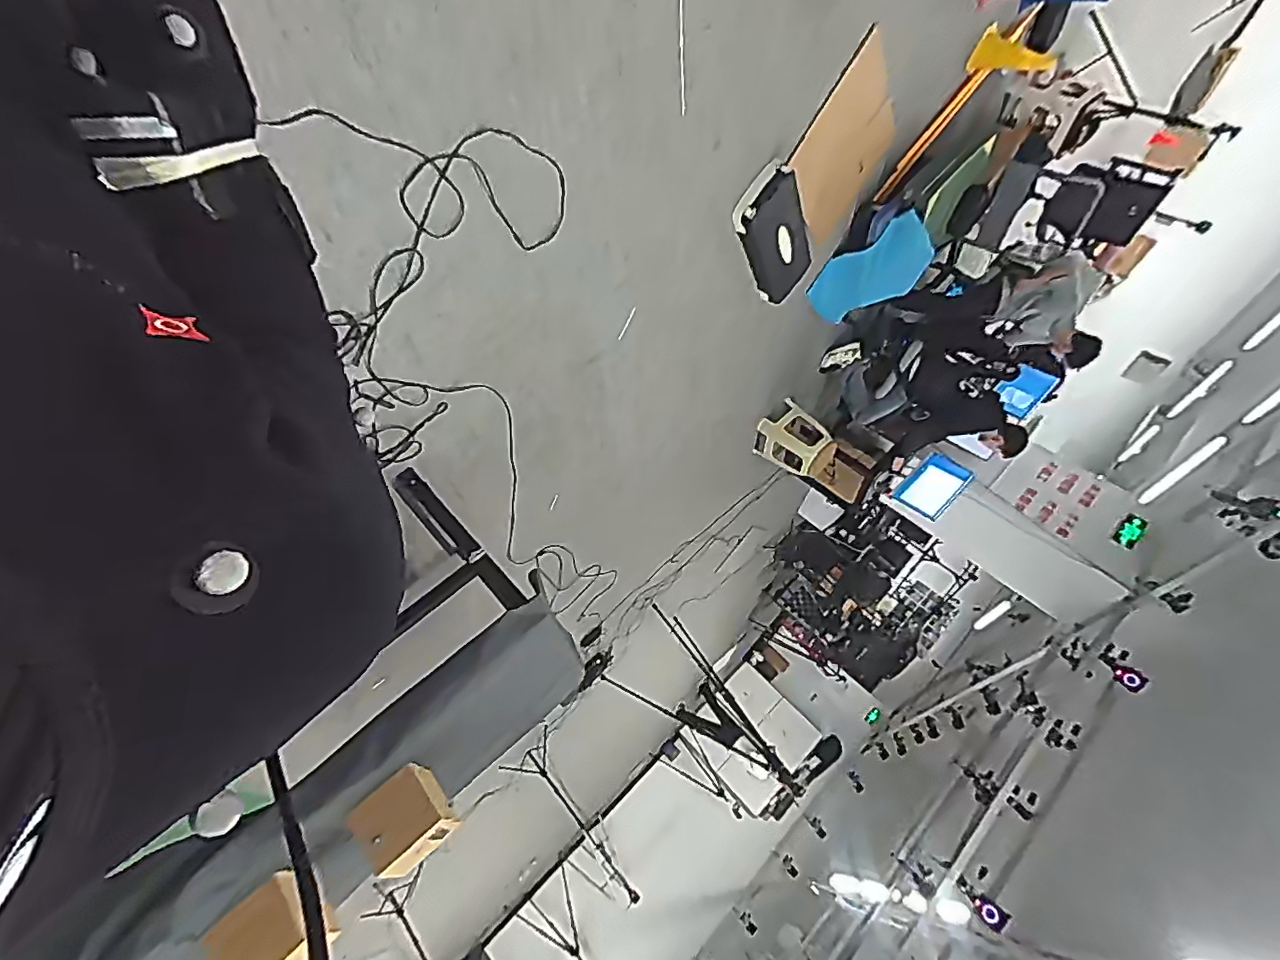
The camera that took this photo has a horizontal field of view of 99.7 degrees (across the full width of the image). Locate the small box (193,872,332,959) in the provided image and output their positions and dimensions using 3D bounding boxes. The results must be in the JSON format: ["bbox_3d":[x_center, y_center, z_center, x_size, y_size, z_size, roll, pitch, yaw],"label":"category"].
[{"bbox_3d":[-0.850,1.024,1.220,0.179,0.176,0.168,-37,152,-22],"label":"small box"}]
